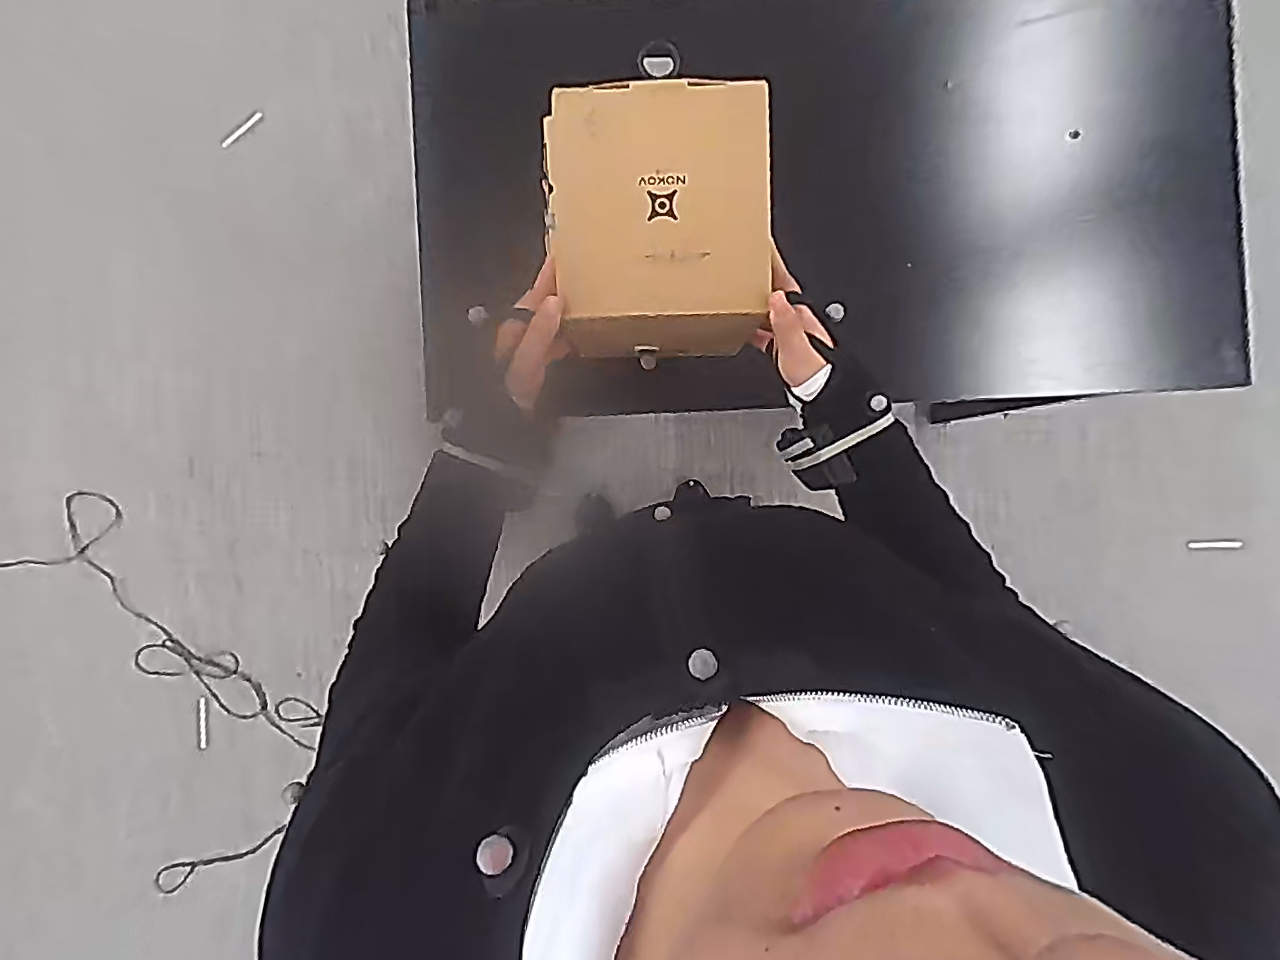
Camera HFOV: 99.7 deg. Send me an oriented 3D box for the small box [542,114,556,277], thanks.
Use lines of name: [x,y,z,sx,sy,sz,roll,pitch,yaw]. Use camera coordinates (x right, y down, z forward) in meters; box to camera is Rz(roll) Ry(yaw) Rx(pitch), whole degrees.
small box: [-0.025,-0.333,0.693,0.179,0.176,0.168,-2,90,-3]

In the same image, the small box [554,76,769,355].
small box: [0.016,-0.219,0.489,0.168,0.176,0.179,-1,92,1]
